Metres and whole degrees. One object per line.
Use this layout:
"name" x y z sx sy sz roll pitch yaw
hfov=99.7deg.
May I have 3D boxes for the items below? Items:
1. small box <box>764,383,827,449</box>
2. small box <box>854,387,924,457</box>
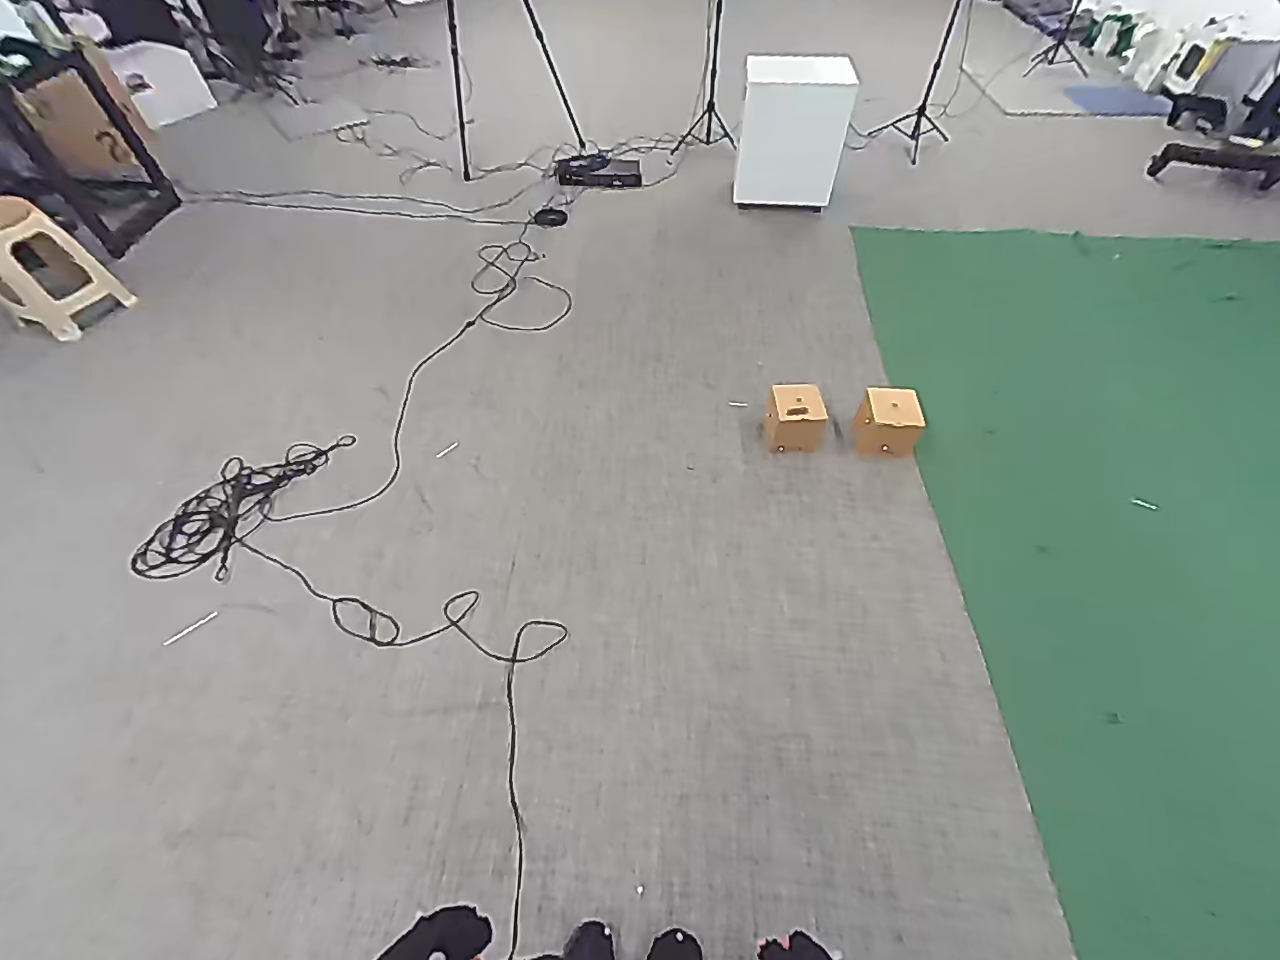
"small box" 0.546 -0.223 1.919 0.168 0.176 0.179 0 52 0
"small box" 0.869 -0.206 1.907 0.168 0.176 0.179 3 53 4
